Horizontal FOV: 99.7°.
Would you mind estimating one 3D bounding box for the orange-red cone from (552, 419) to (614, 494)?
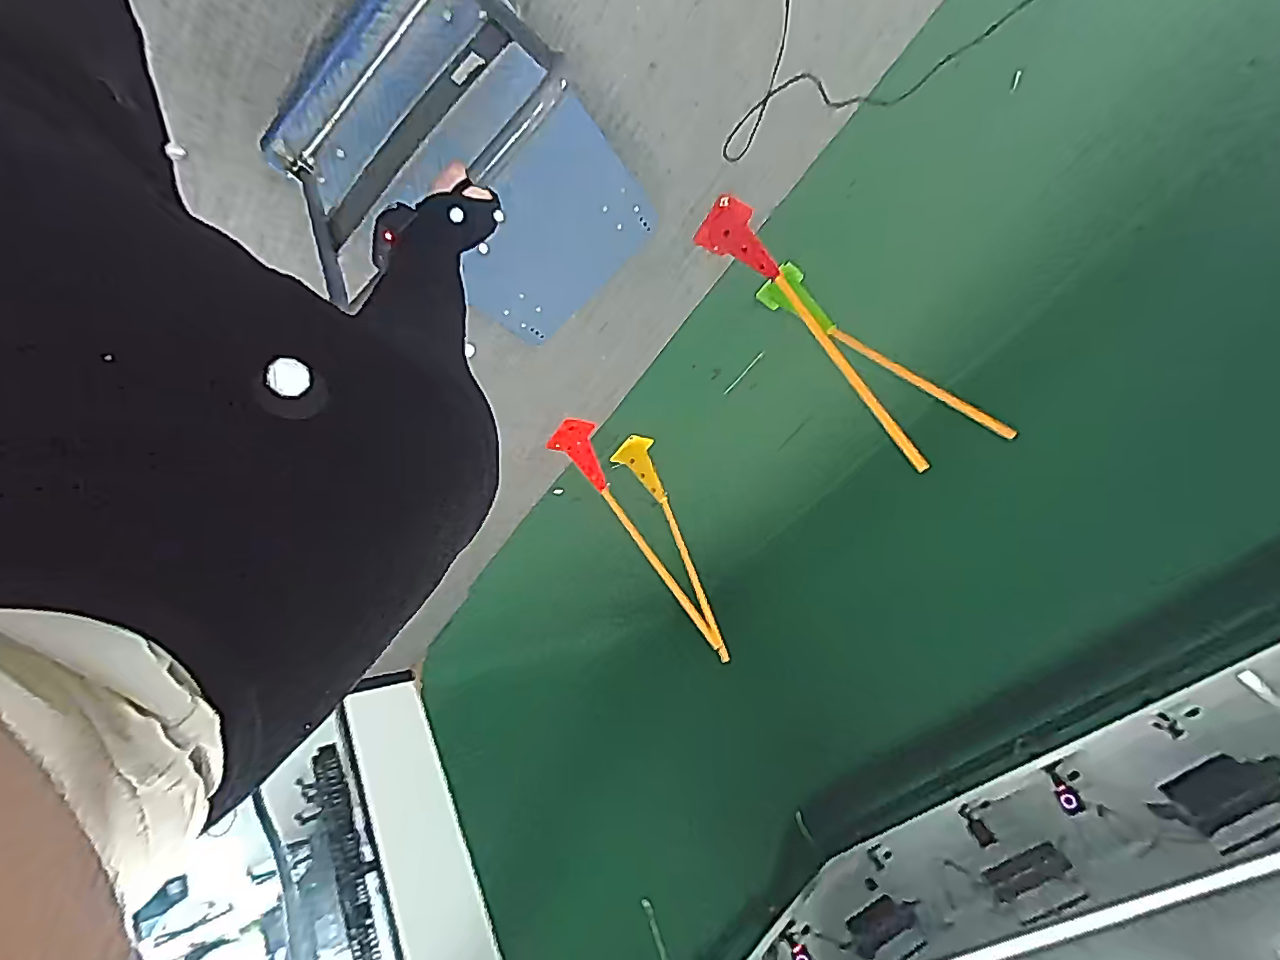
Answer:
[{"bbox_3d":[-0.216,-0.082,2.478,0.199,0.360,0.198,5,134,-51],"label":"orange-red cone"}]

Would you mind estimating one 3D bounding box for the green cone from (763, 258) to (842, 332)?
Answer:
[{"bbox_3d":[0.749,-0.771,2.374,0.202,0.368,0.200,6,132,-50],"label":"green cone"}]
